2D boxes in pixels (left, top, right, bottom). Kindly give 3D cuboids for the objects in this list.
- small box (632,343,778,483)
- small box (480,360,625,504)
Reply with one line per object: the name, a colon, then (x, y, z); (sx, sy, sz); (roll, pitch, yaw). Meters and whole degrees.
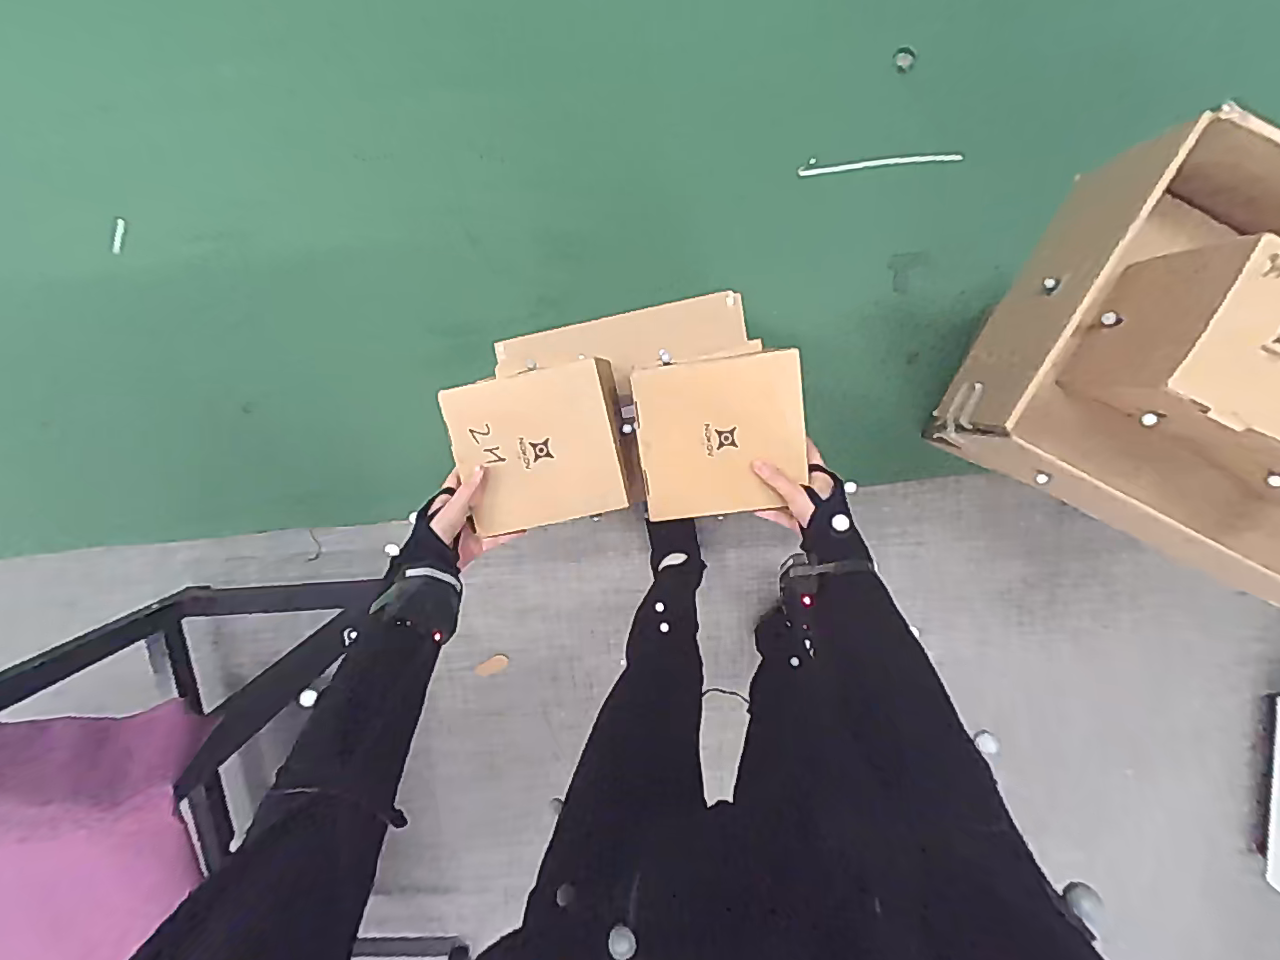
small box: (0.094, -0.102, 0.808); (0.179, 0.176, 0.168); (-11, 101, 5)
small box: (-0.121, -0.077, 0.824); (0.168, 0.176, 0.179); (-11, 100, 5)
